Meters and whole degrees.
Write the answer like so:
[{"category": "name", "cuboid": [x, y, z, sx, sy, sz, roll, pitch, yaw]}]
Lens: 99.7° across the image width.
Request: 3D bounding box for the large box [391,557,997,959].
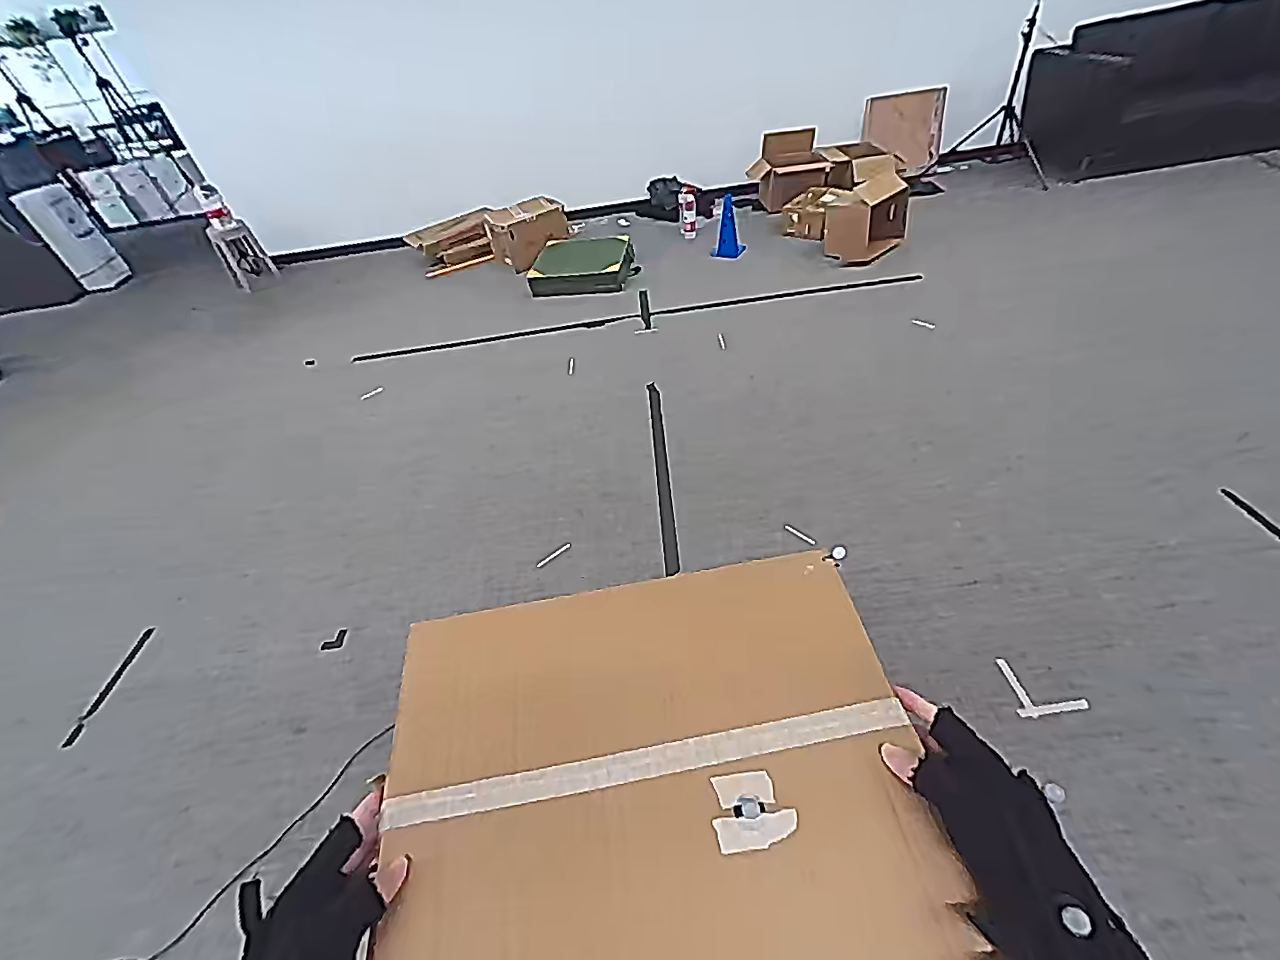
[{"category": "large box", "cuboid": [0.023, 0.322, 0.542, 0.408, 0.320, 0.320, -10, 50, -2]}]
